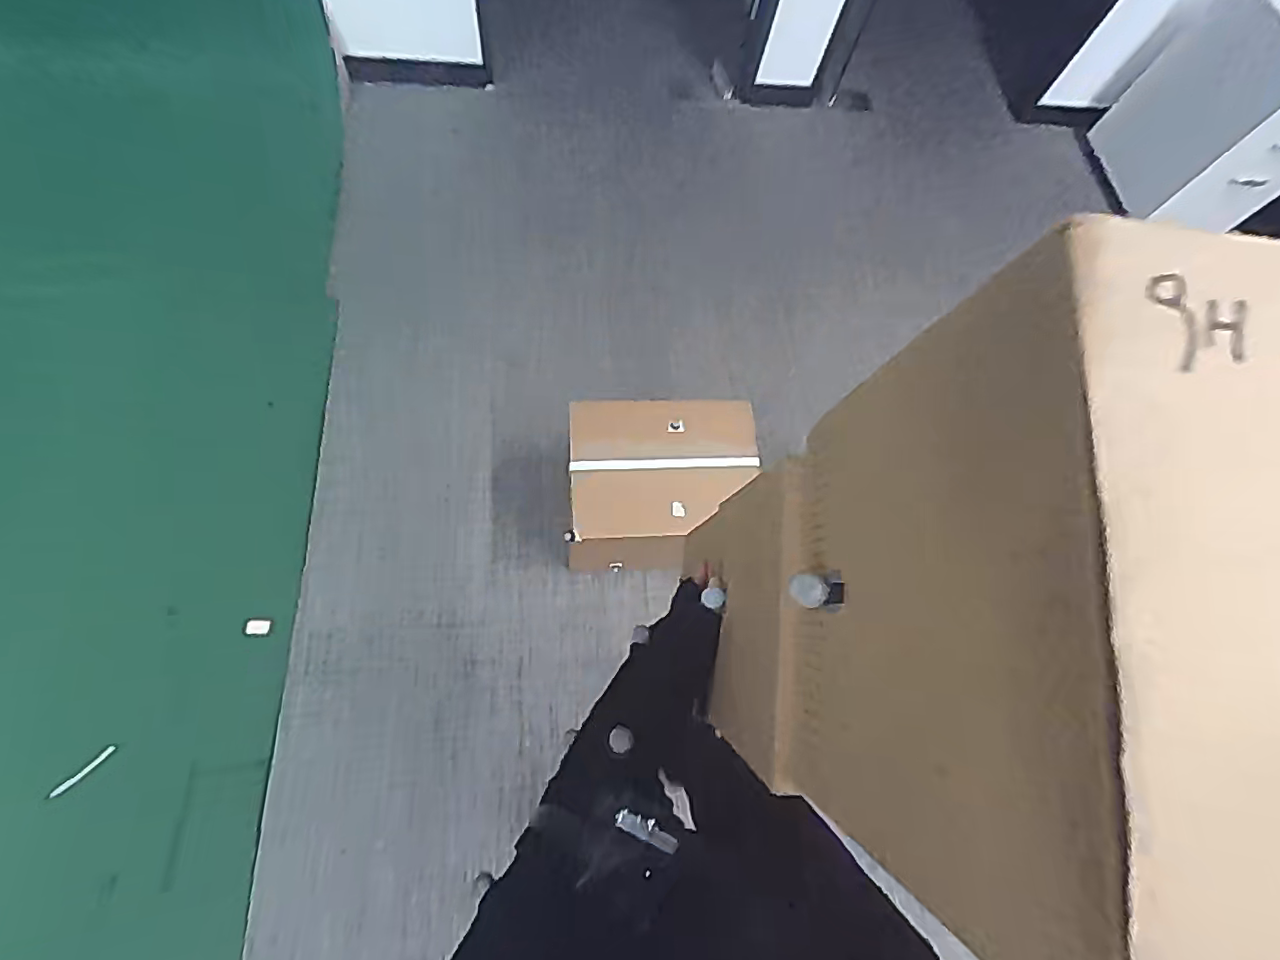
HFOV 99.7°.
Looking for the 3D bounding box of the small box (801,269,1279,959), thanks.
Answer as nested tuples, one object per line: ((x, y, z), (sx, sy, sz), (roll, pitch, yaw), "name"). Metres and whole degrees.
((0.169, 0.056, 0.199), (0.168, 0.176, 0.179), (7, 78, -3), "small box")
